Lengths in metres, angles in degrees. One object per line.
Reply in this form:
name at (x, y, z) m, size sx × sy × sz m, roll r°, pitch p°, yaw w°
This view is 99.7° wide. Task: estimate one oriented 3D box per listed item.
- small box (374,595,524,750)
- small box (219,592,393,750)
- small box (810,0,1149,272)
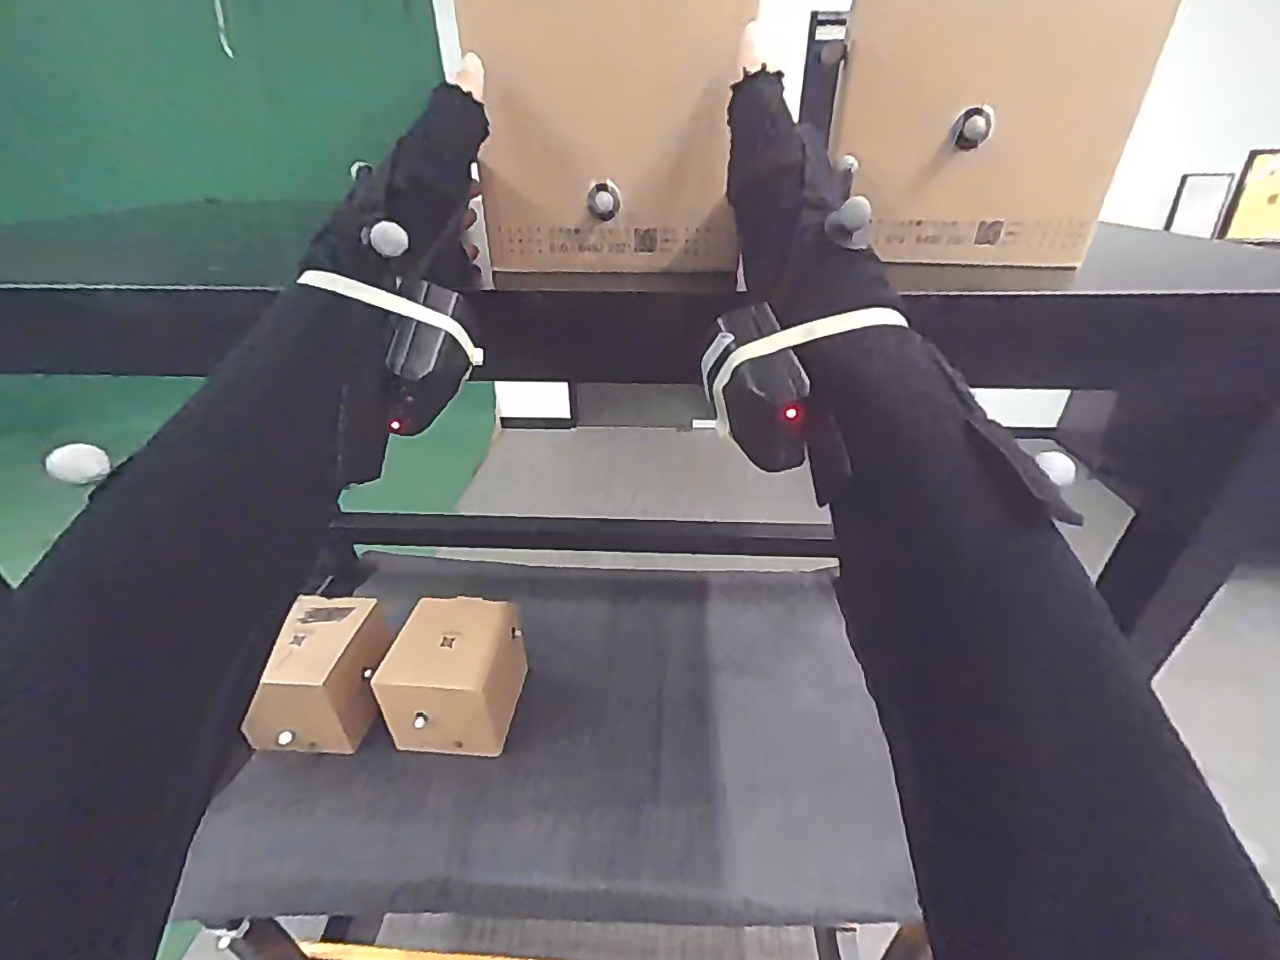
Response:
small box at (-0.295, 0.312, 0.882) m, size 0.168 × 0.176 × 0.179 m, roll 2°, pitch 31°, yaw 4°
small box at (-0.522, 0.307, 0.885) m, size 0.168 × 0.176 × 0.179 m, roll 2°, pitch 32°, yaw 3°
small box at (0.229, -0.262, 0.413) m, size 0.168 × 0.176 × 0.179 m, roll 7°, pitch 32°, yaw 12°
